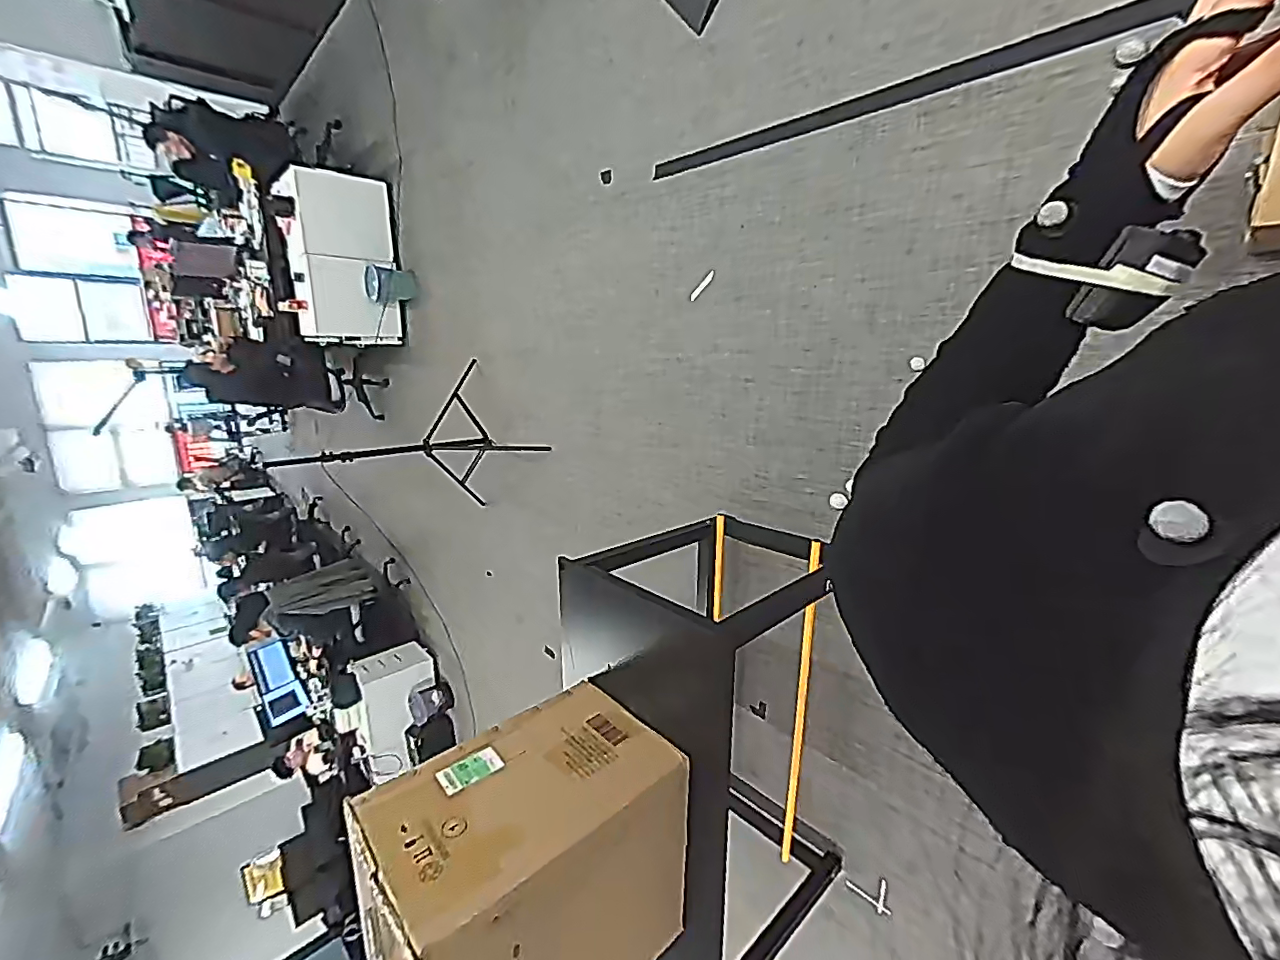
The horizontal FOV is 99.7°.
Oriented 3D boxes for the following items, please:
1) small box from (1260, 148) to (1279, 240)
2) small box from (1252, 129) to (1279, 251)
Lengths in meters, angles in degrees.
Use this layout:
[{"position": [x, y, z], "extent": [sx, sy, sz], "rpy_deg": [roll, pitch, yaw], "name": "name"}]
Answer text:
[{"position": [0.987, -0.440, 0.735], "extent": [0.168, 0.176, 0.179], "rpy_deg": [15, 111, 45], "name": "small box"}, {"position": [1.104, -0.467, 0.848], "extent": [0.179, 0.176, 0.168], "rpy_deg": [10, 107, 46], "name": "small box"}]
